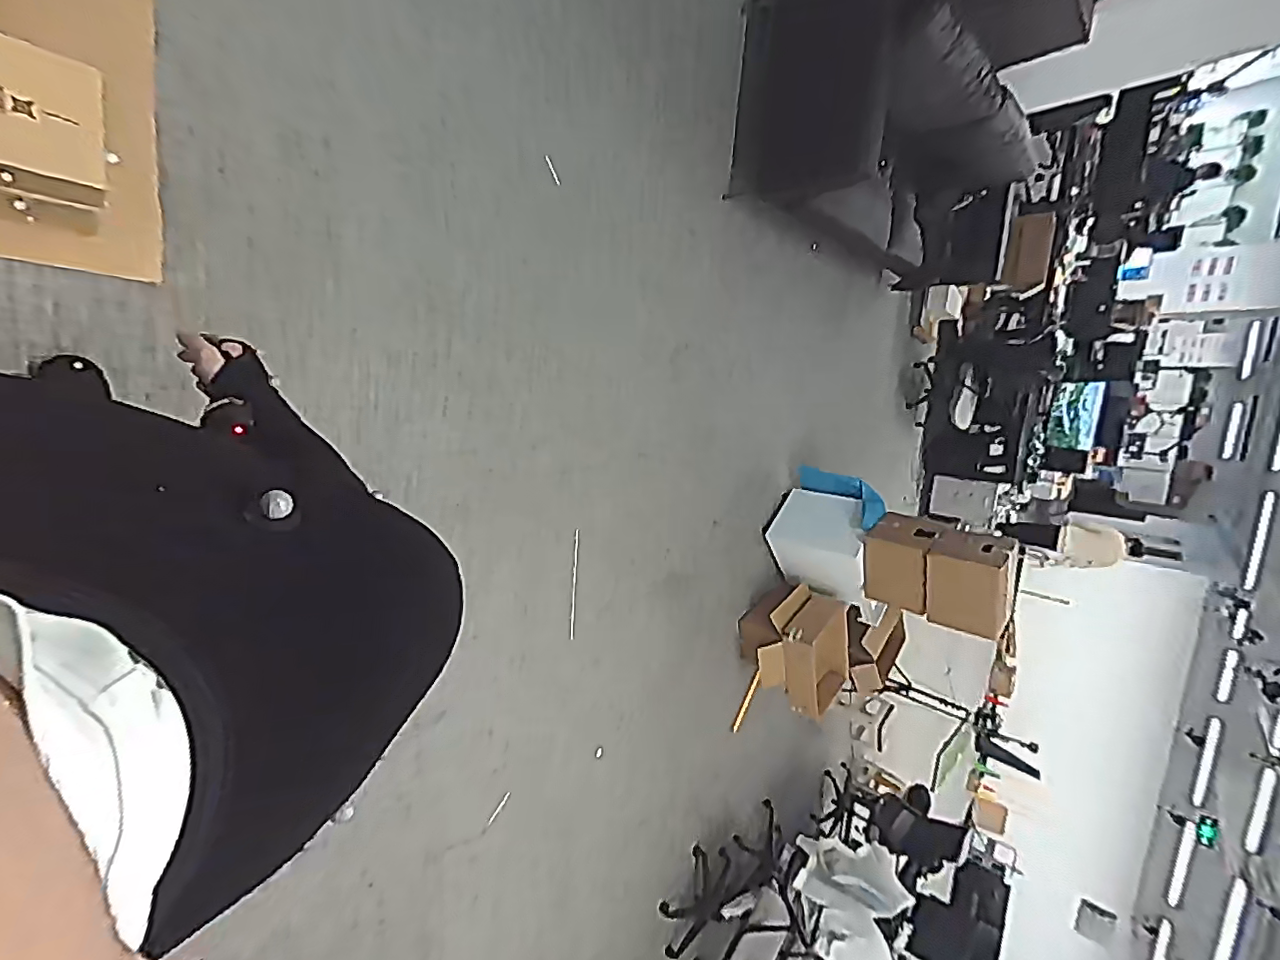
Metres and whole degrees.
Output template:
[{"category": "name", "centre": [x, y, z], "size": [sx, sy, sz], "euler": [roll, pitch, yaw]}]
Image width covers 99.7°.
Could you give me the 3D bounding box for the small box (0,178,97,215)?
[{"category": "small box", "centre": [-1.018, -0.550, 0.884], "size": [0.179, 0.176, 0.168], "euler": [-3, 102, -45]}]

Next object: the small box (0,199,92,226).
[{"category": "small box", "centre": [-1.134, -0.583, 0.992], "size": [0.179, 0.176, 0.168], "euler": [-2, 101, -46]}]

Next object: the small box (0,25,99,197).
[{"category": "small box", "centre": [-0.899, -0.527, 0.772], "size": [0.179, 0.176, 0.168], "euler": [-3, 102, -46]}]
